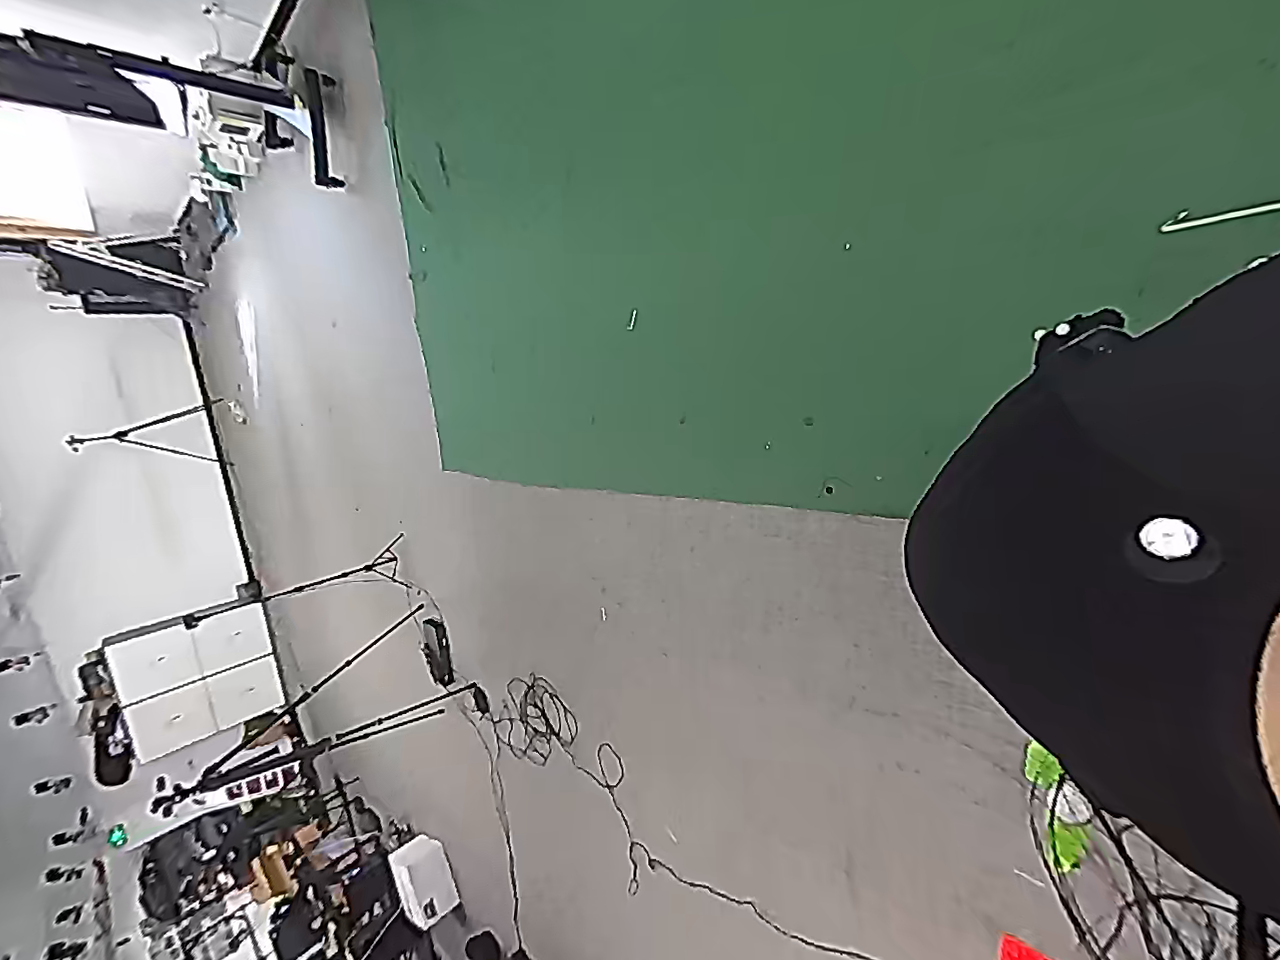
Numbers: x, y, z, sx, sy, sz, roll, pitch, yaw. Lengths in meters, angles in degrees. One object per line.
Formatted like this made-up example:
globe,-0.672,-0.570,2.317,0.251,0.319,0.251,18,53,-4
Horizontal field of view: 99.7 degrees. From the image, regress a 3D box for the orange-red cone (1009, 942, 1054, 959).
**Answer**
orange-red cone,1.035,1.451,1.388,0.198,0.360,0.199,10,107,41
